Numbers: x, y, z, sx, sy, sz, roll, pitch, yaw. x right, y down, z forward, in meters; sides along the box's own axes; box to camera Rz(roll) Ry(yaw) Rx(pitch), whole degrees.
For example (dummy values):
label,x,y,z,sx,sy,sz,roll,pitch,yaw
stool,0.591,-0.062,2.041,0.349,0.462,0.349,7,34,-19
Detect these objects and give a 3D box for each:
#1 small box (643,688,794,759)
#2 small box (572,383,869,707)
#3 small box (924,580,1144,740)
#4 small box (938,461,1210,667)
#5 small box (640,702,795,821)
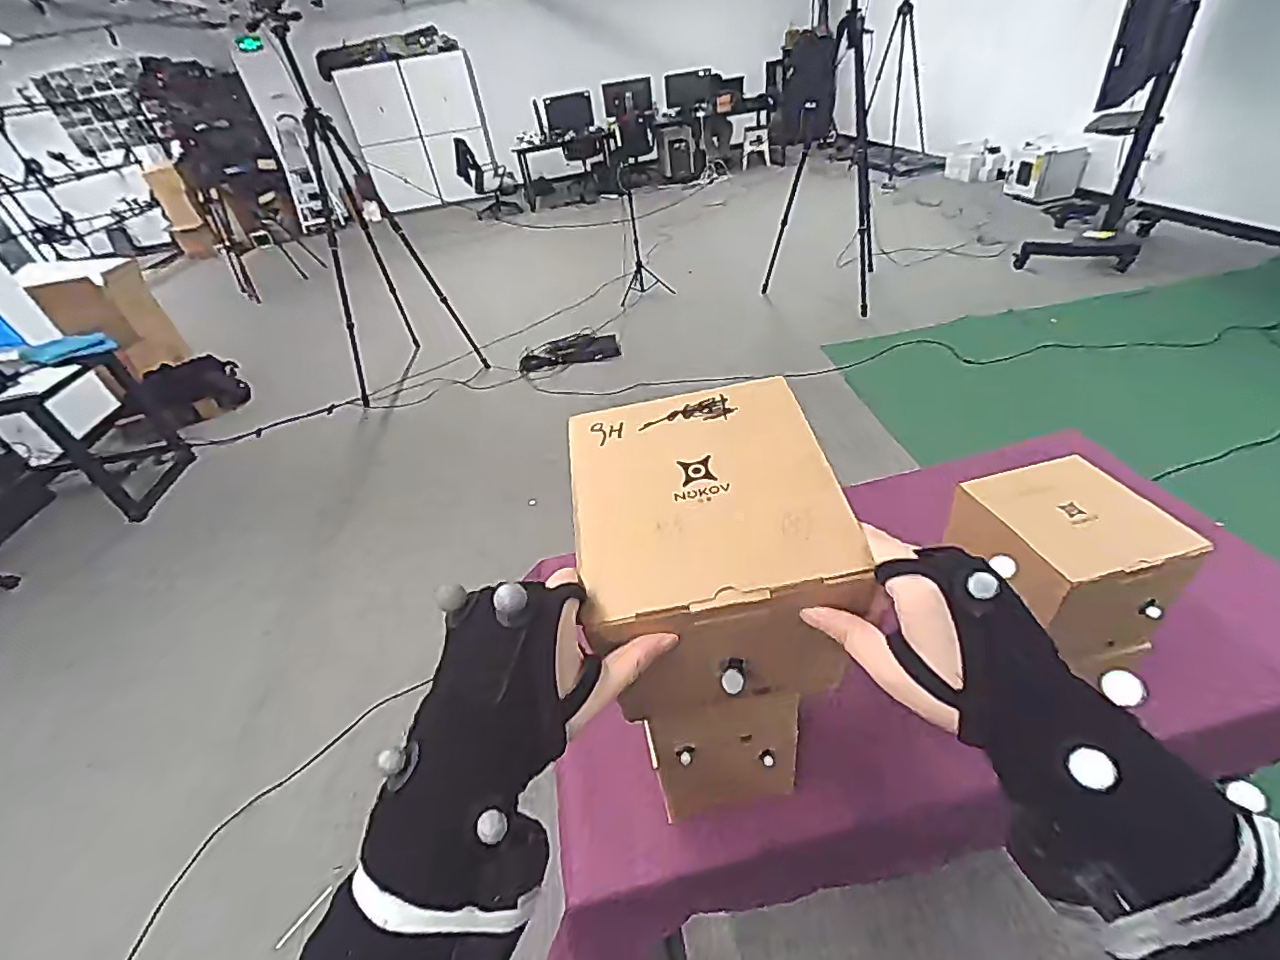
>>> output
label,x,y,z,sx,sy,sz,roll,pitch,yaw
small box,0.076,0.202,0.638,0.168,0.176,0.179,-12,36,-4
small box,0.050,0.057,0.412,0.168,0.176,0.179,-10,49,1
small box,0.526,0.237,0.759,0.179,0.176,0.168,-12,38,-2
small box,0.504,0.106,0.663,0.168,0.176,0.179,-13,37,-4
small box,0.097,0.332,0.737,0.179,0.176,0.168,-12,38,-4
